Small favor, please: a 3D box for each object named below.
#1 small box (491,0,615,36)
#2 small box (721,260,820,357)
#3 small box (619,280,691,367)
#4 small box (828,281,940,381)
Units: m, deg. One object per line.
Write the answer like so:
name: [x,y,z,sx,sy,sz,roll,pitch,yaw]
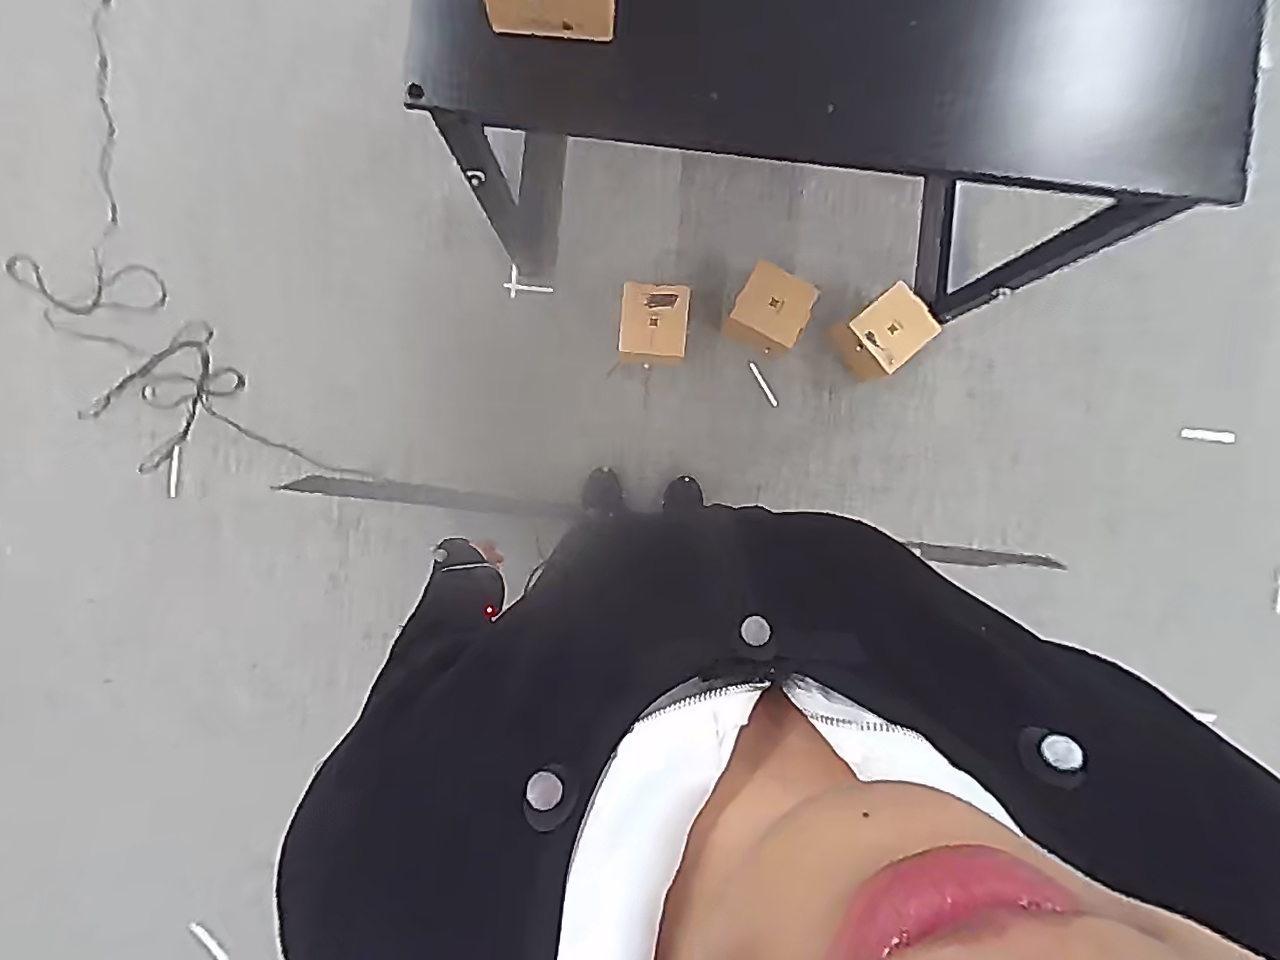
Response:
small box: [-0.112,-0.704,0.673,0.168,0.176,0.179,4,91,-2]
small box: [0.334,-0.438,1.420,0.179,0.176,0.168,27,90,0]
small box: [0.035,-0.403,1.414,0.168,0.176,0.179,5,93,-1]
small box: [0.632,-0.384,1.425,0.179,0.176,0.168,-40,91,0]
